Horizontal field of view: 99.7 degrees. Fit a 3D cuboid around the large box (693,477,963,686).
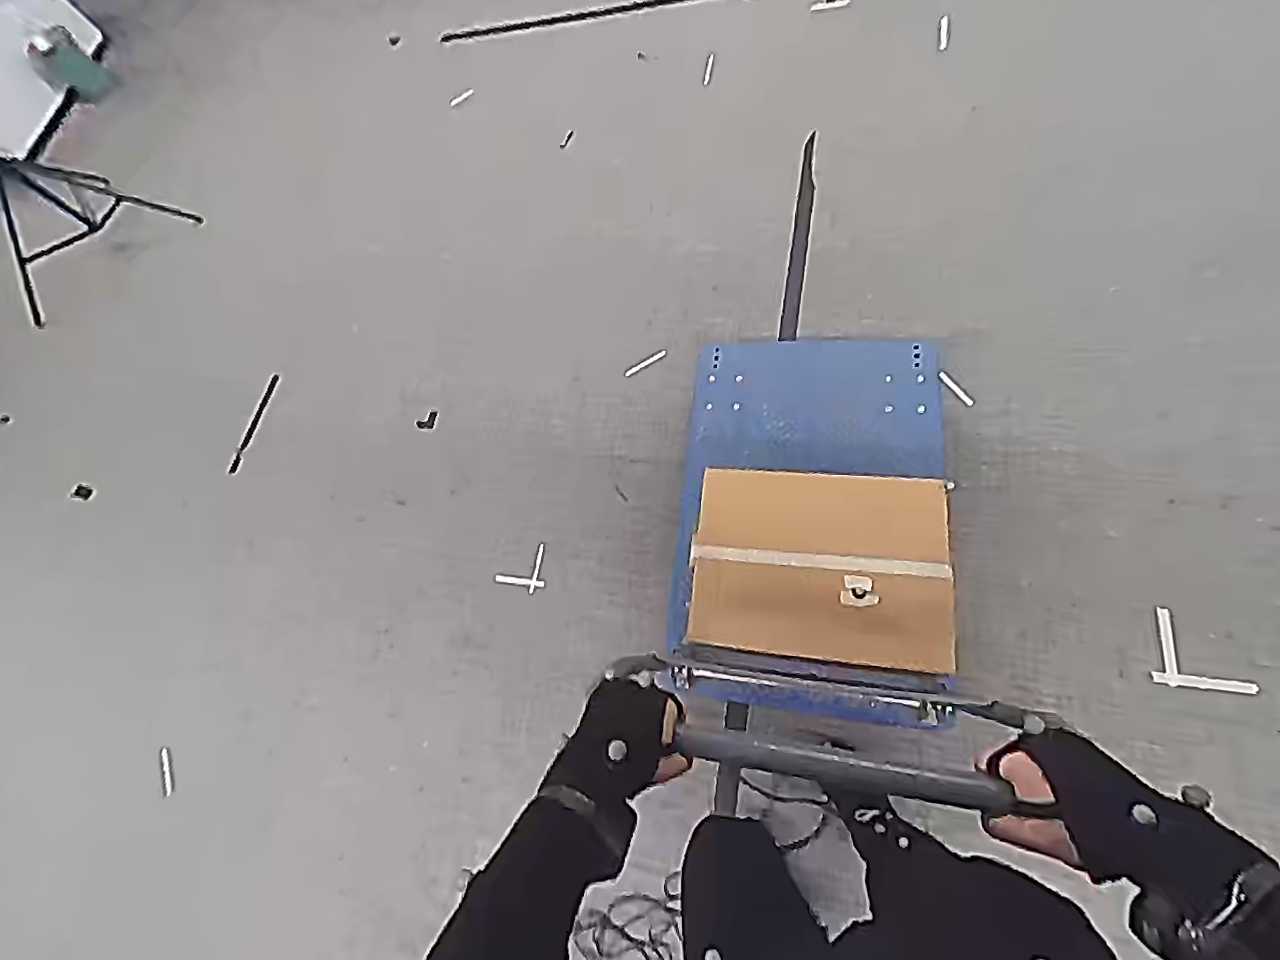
[{"bbox_3d":[0.325,0.198,1.015,0.408,0.320,0.320,3,71,14],"label":"large box"}]
